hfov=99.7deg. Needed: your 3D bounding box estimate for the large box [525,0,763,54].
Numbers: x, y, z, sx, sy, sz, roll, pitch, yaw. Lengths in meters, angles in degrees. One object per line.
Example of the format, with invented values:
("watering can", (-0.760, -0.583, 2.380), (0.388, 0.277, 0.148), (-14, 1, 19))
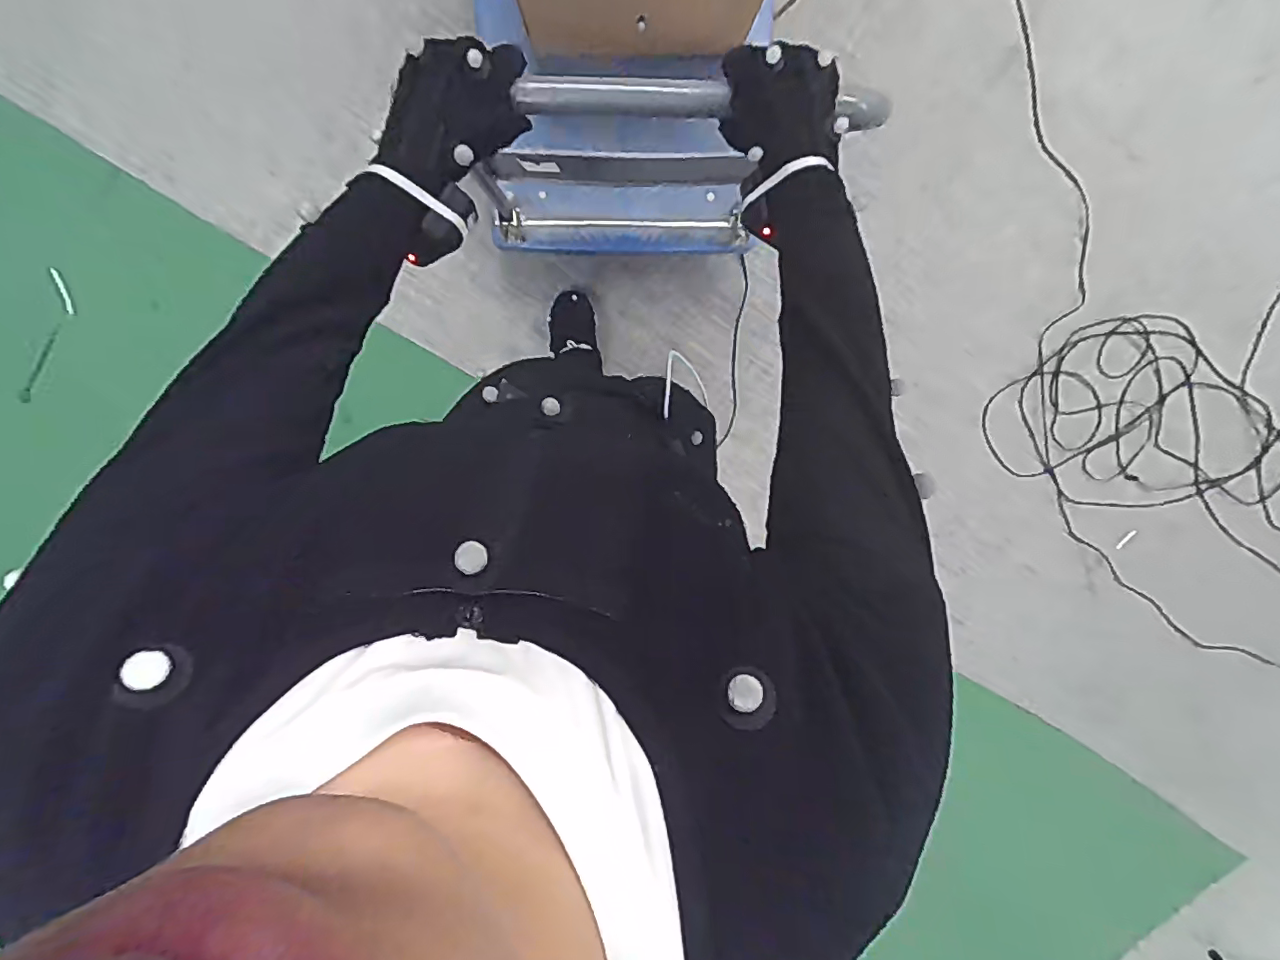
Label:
("large box", (0.006, -0.945, 0.881), (0.408, 0.320, 0.320), (-2, 107, -1))
